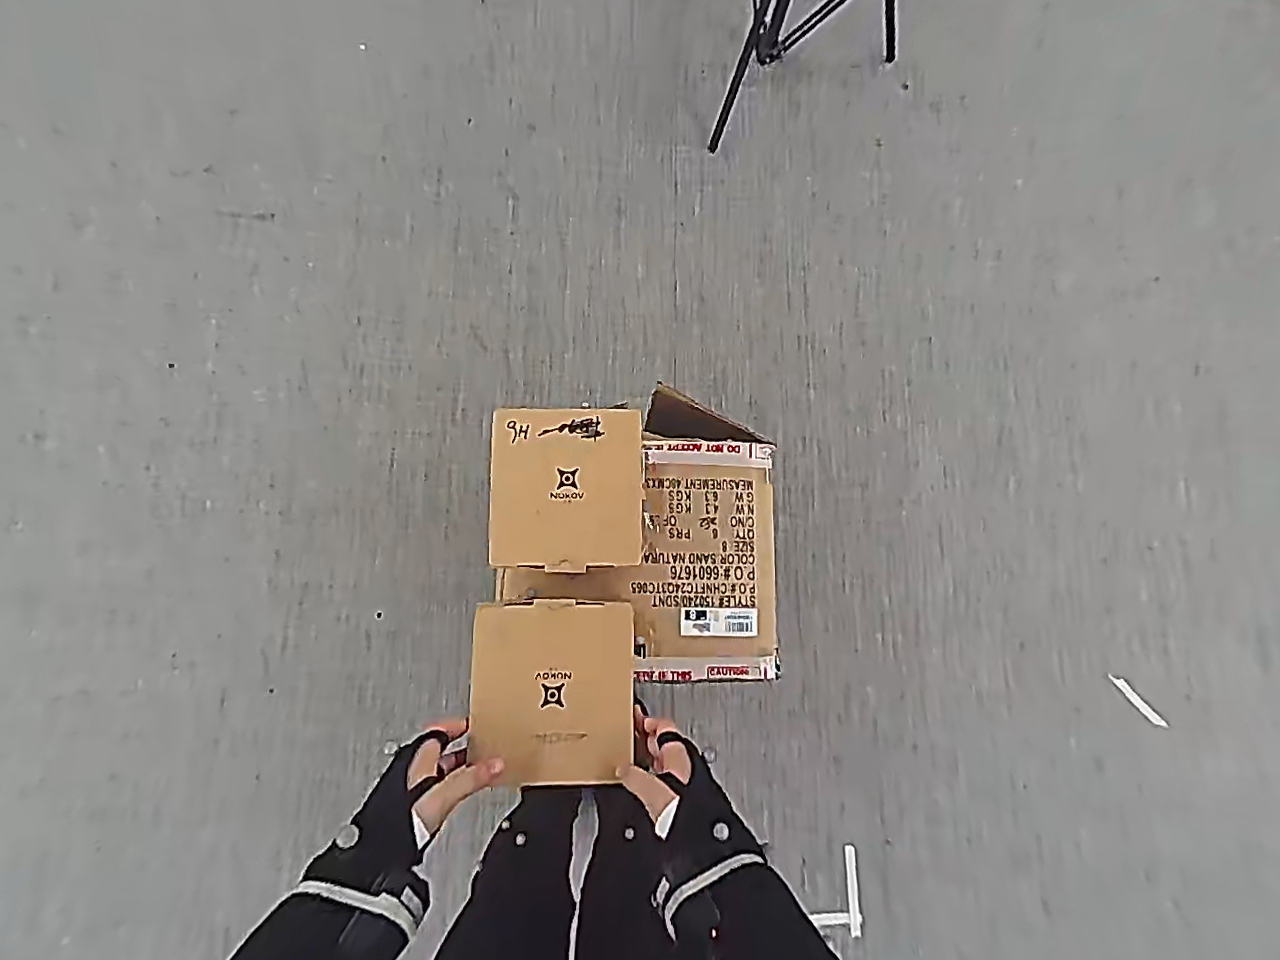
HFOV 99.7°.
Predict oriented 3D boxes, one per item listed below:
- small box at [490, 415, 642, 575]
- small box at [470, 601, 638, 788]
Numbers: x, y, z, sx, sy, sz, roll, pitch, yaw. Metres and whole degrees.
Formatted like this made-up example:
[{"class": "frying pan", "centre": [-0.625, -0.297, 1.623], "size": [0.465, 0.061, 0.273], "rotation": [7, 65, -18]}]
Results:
[{"class": "small box", "centre": [-0.081, 0.022, 0.666], "size": [0.168, 0.176, 0.179], "rotation": [0, 85, -2]}, {"class": "small box", "centre": [-0.089, 0.230, 0.622], "size": [0.168, 0.176, 0.179], "rotation": [0, 79, -2]}]
